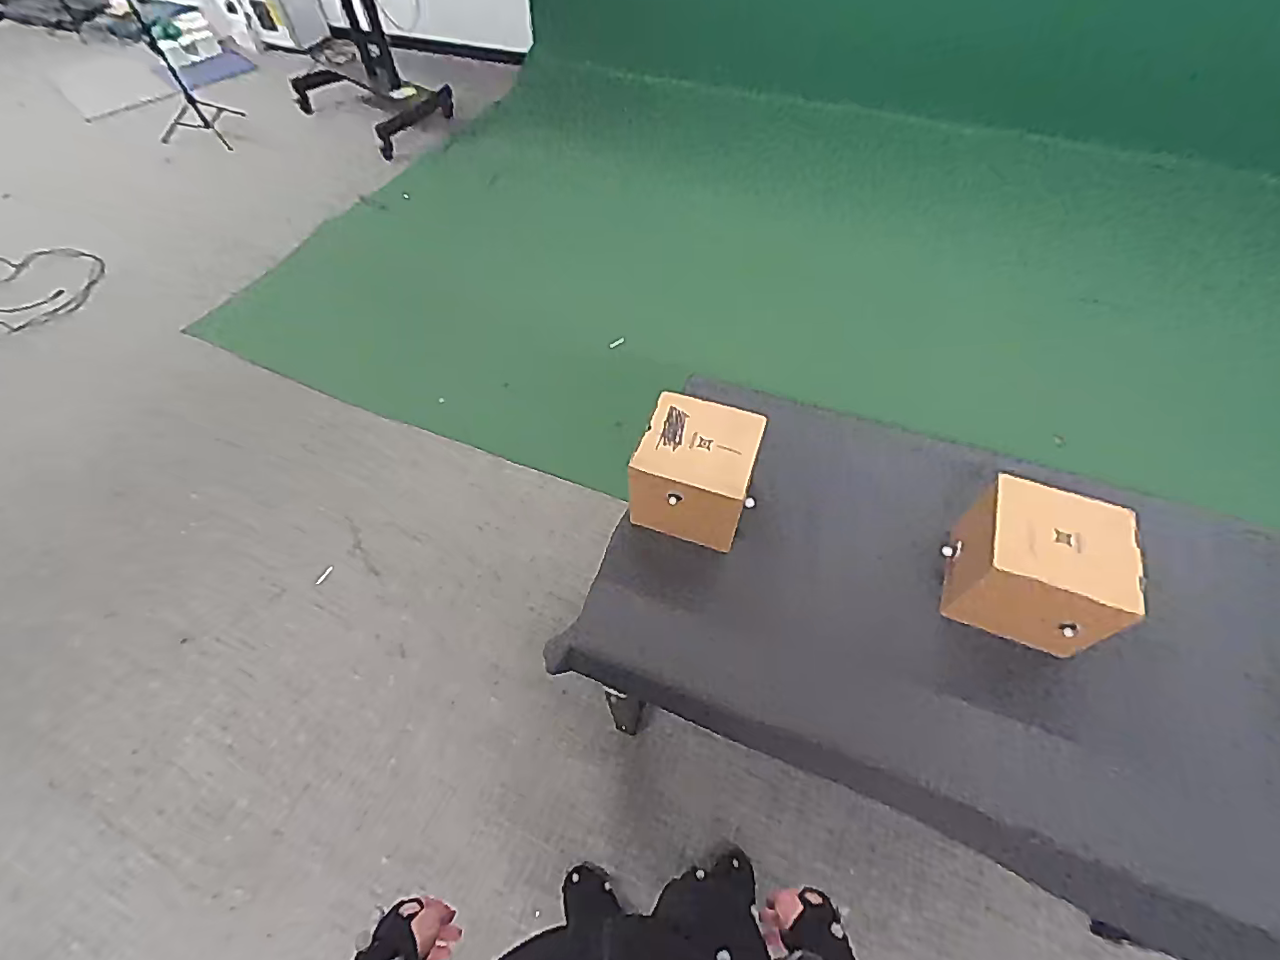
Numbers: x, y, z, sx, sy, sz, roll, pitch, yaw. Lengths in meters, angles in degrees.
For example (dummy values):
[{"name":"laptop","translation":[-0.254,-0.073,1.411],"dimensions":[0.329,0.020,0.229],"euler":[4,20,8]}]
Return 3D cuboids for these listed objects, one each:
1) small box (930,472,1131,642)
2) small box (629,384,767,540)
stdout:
[{"name":"small box","translation":[0.564,0.120,0.801],"dimensions":[0.179,0.176,0.168],"euler":[18,56,12]},{"name":"small box","translation":[0.088,-0.024,0.880],"dimensions":[0.179,0.176,0.168],"euler":[18,57,8]}]
